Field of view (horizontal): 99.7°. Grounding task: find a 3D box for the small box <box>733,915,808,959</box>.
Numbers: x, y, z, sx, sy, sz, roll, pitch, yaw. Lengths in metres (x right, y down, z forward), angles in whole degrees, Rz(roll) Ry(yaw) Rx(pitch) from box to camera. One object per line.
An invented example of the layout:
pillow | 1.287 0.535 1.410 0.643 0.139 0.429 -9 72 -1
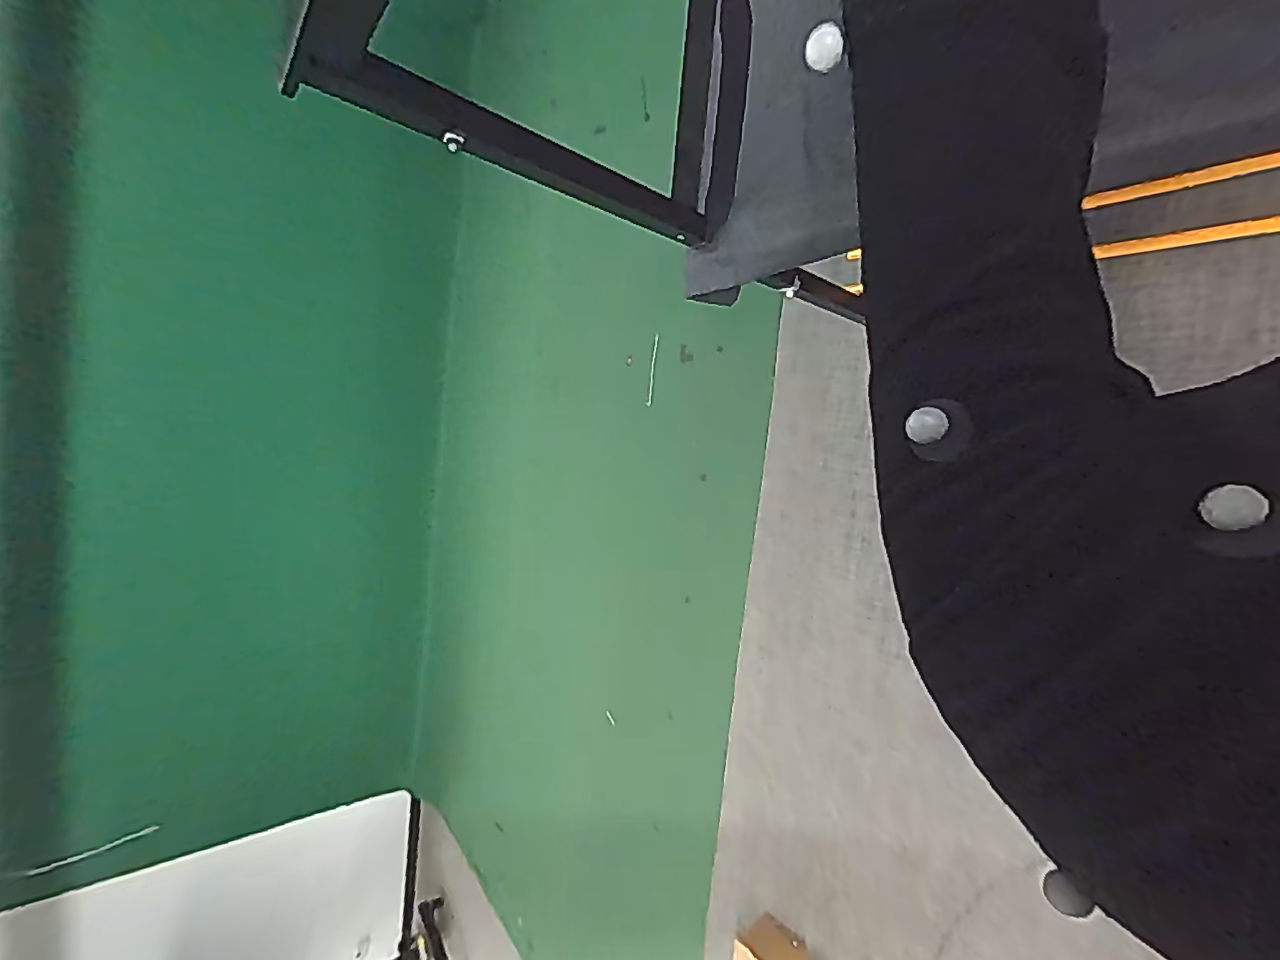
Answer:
small box | 0.411 1.540 1.707 0.168 0.176 0.179 9 95 51
